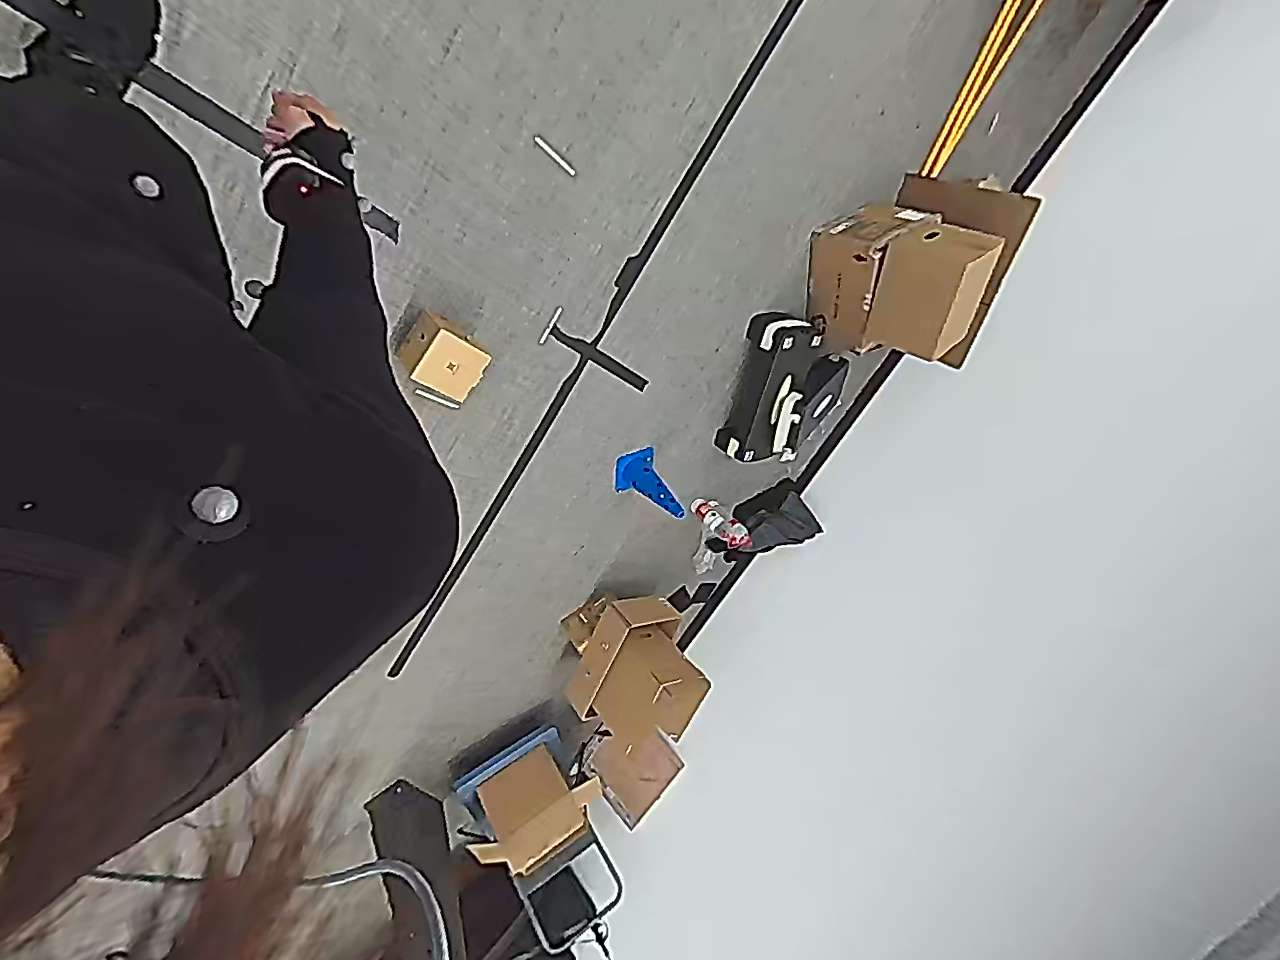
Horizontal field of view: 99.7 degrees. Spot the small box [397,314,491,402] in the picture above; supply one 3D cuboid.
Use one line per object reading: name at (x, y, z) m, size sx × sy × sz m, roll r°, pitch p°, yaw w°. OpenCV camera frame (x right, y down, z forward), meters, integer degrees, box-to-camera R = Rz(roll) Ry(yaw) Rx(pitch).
small box at (-0.577, -0.360, 1.577) m, size 0.179 × 0.176 × 0.168 m, roll 26°, pitch 104°, yaw -50°
